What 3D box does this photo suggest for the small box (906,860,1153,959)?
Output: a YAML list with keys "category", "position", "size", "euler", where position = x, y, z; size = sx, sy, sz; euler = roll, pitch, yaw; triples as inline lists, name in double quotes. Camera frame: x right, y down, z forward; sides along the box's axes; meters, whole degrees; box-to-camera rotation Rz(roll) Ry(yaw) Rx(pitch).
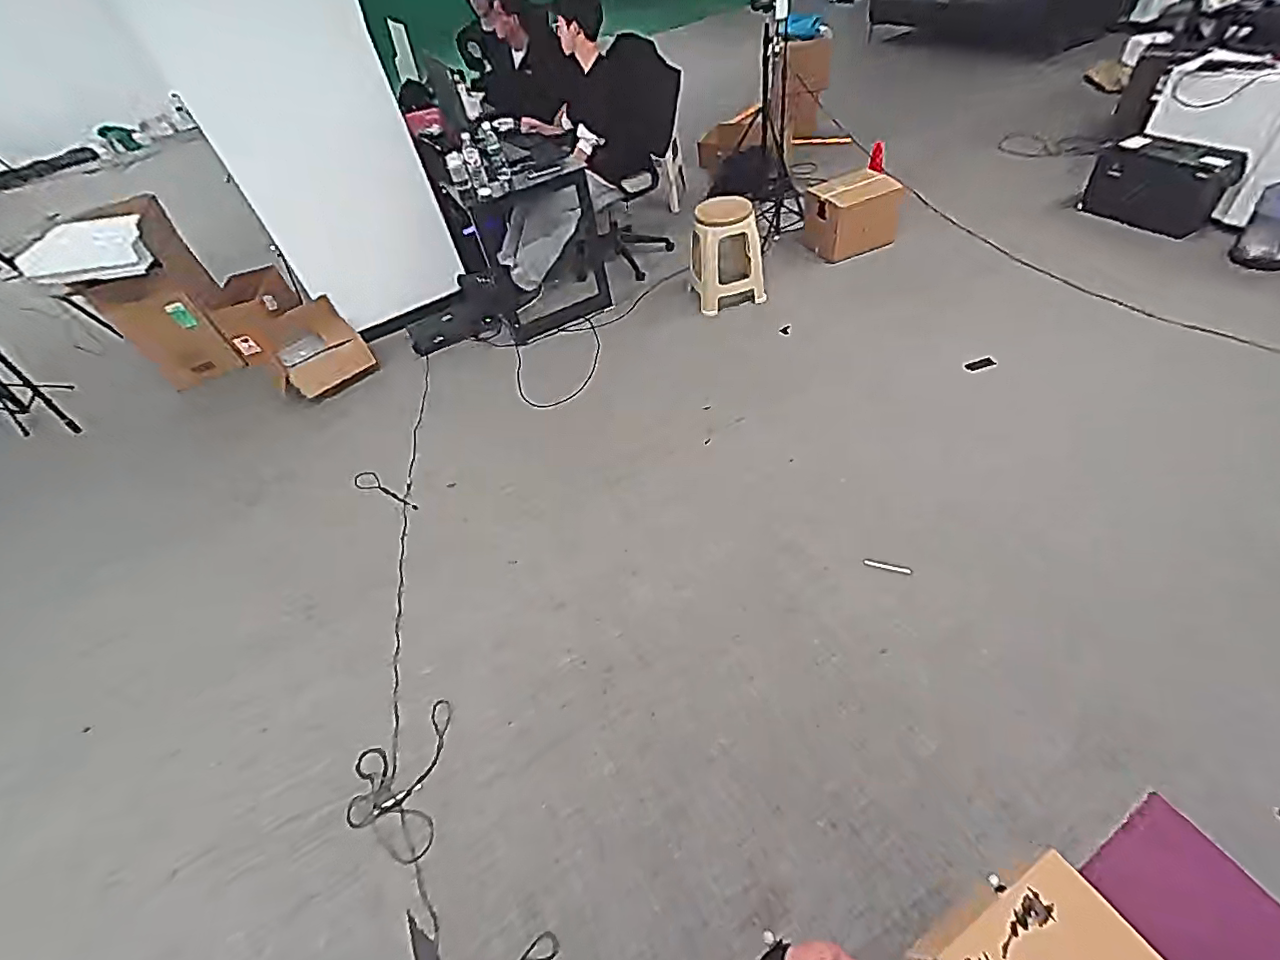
- category: "small box"
  position: [0.396, 0.512, 0.522]
  size: [0.168, 0.176, 0.179]
  euler: [-28, 50, -13]
